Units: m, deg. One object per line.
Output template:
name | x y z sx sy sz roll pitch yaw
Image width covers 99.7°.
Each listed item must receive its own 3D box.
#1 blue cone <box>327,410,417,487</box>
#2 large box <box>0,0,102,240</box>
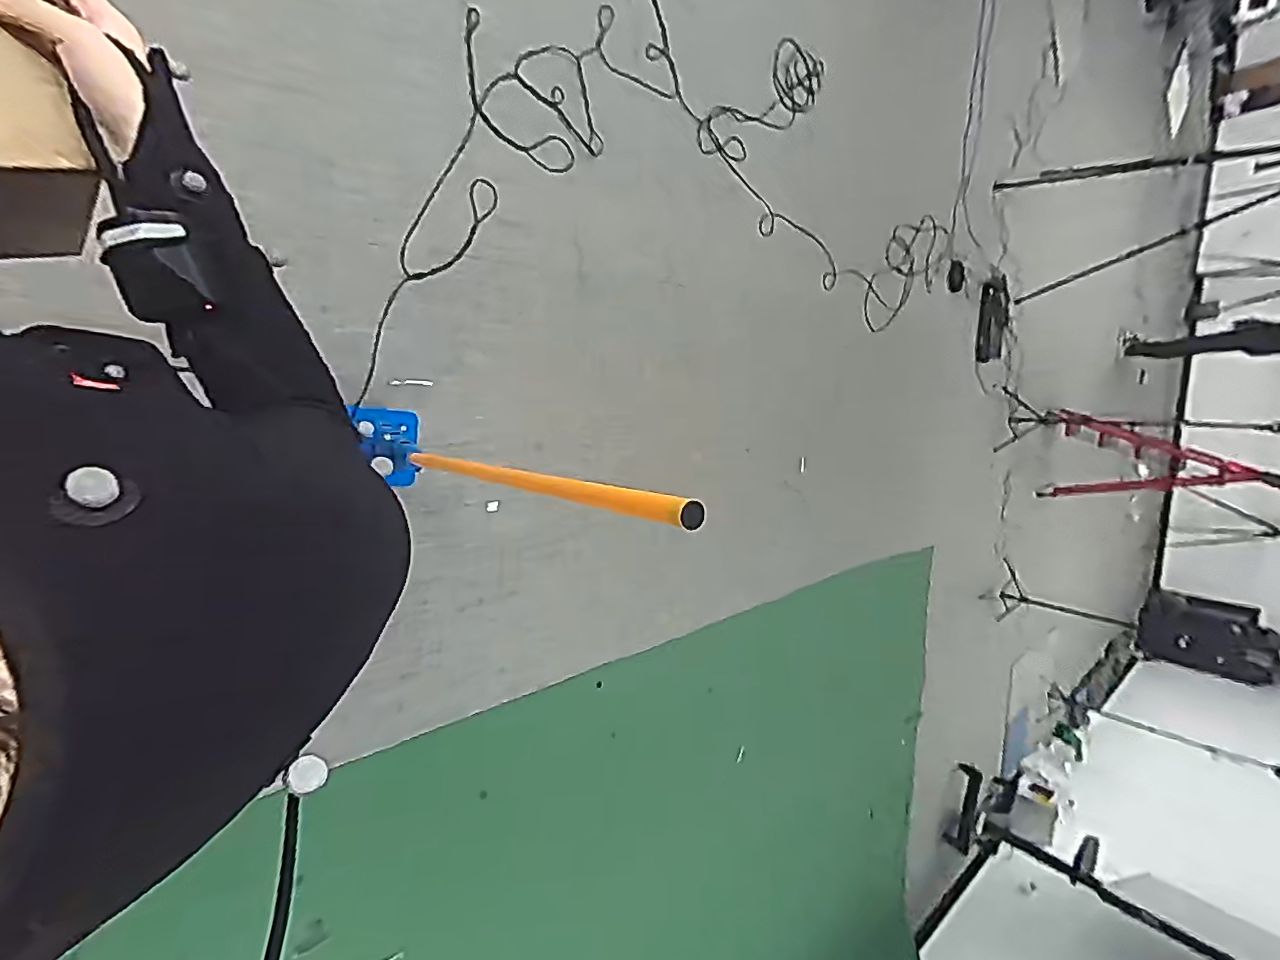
blue cone | -0.589 -0.058 1.253 0.193 0.380 0.192 3 96 -38
large box | -0.632 -0.315 0.286 0.408 0.320 0.320 -27 116 -45
